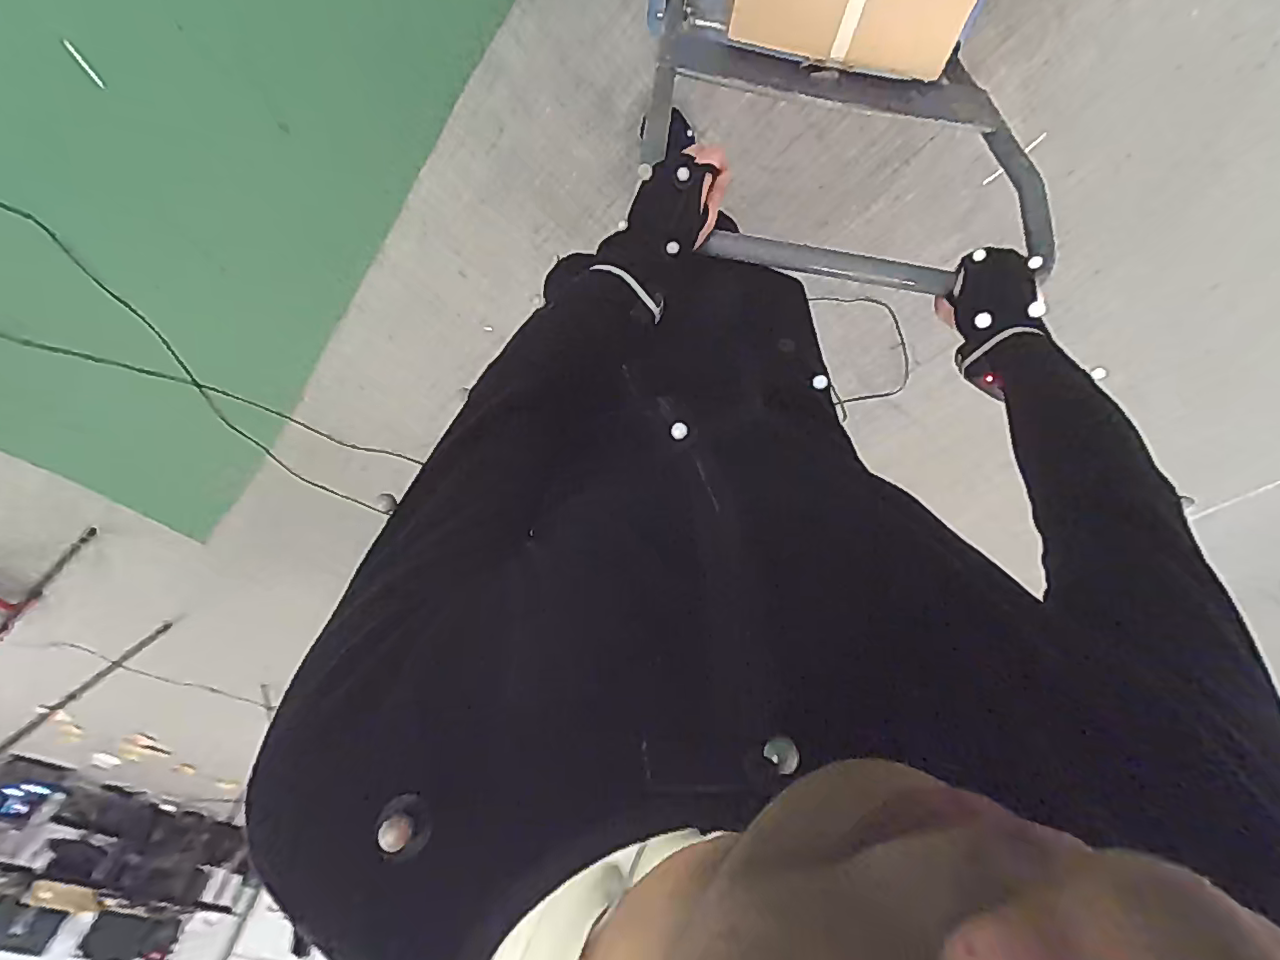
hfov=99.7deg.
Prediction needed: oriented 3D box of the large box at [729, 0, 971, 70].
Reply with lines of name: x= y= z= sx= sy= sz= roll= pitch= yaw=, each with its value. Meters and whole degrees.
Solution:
large box: x=0.313 y=-0.840 z=0.706 sx=0.320 sy=0.320 sz=0.408 roll=9 pitch=140 yaw=-3
